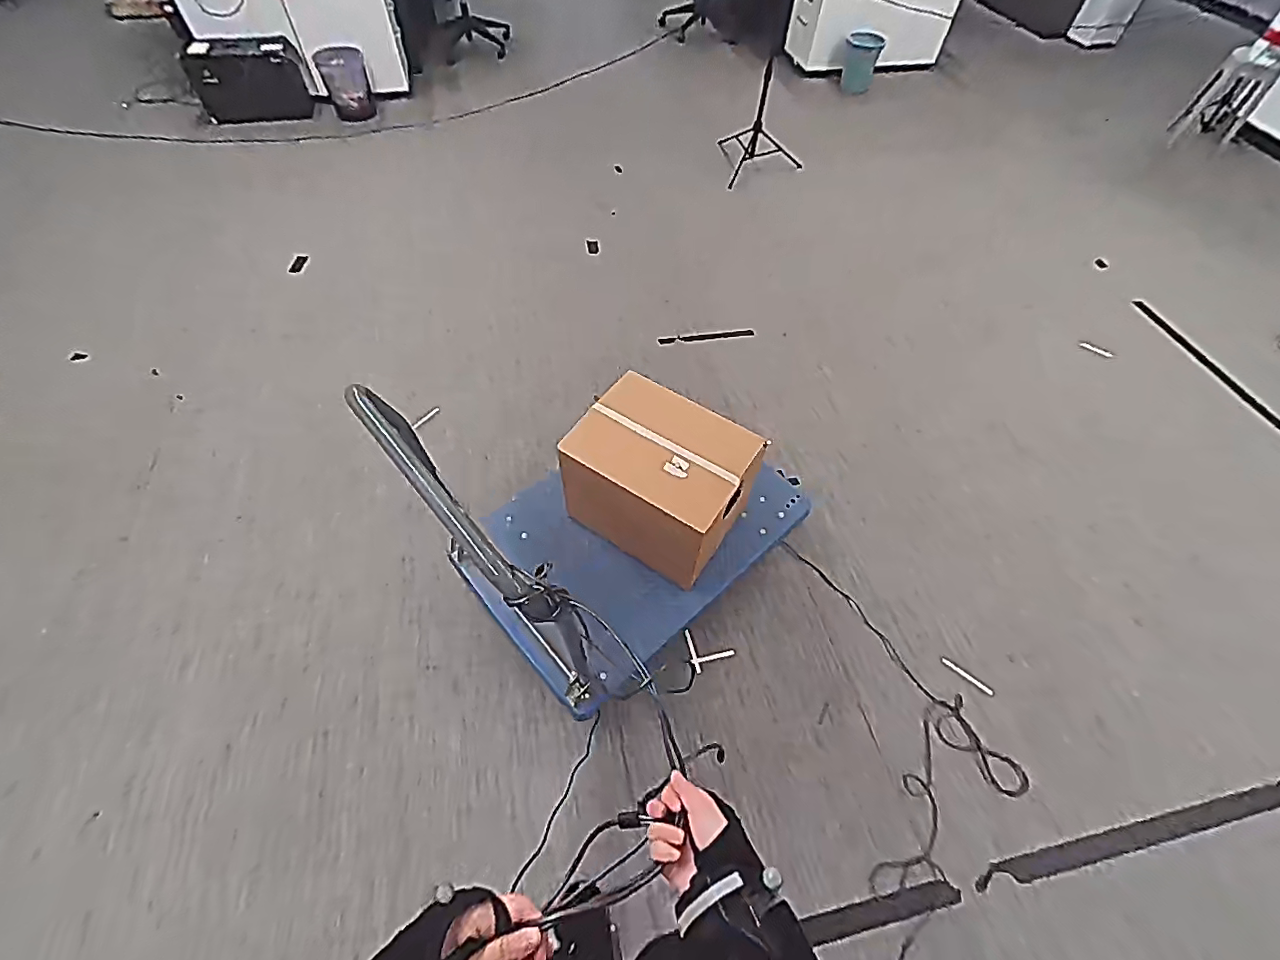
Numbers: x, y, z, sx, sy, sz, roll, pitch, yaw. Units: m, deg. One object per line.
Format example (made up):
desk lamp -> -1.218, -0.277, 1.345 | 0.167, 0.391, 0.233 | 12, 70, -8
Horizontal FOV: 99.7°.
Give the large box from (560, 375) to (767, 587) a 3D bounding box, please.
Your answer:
large box -> 0.048, 0.003, 1.394 | 0.408, 0.320, 0.320 | 30, 60, 16
